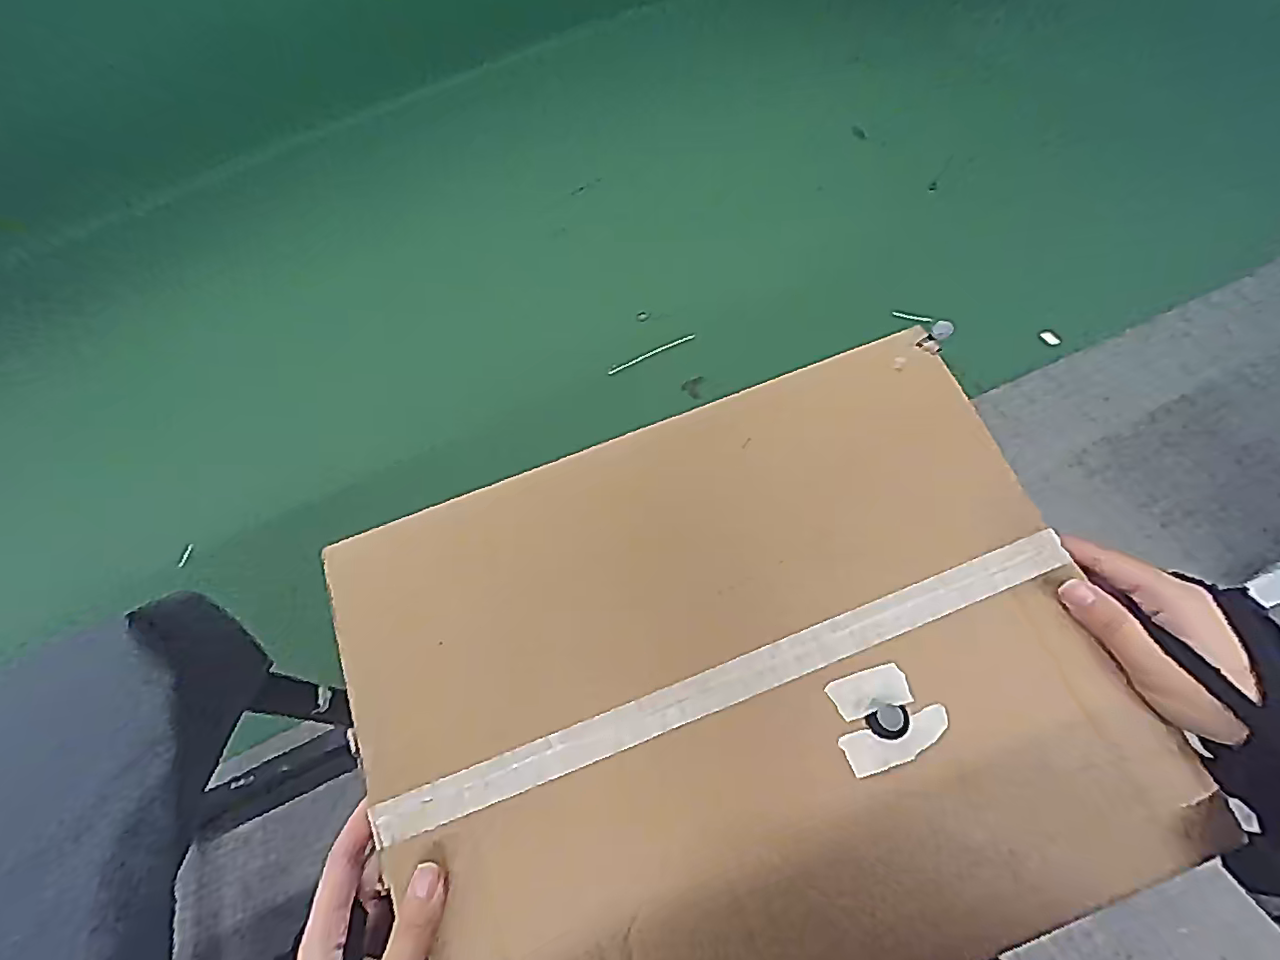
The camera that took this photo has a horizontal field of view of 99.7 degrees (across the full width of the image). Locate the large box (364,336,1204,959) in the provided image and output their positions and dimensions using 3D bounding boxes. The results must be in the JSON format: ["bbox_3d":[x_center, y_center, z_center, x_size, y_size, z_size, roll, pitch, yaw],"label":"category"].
[{"bbox_3d":[0.066,0.150,0.454,0.408,0.320,0.320,-20,74,-4],"label":"large box"}]
